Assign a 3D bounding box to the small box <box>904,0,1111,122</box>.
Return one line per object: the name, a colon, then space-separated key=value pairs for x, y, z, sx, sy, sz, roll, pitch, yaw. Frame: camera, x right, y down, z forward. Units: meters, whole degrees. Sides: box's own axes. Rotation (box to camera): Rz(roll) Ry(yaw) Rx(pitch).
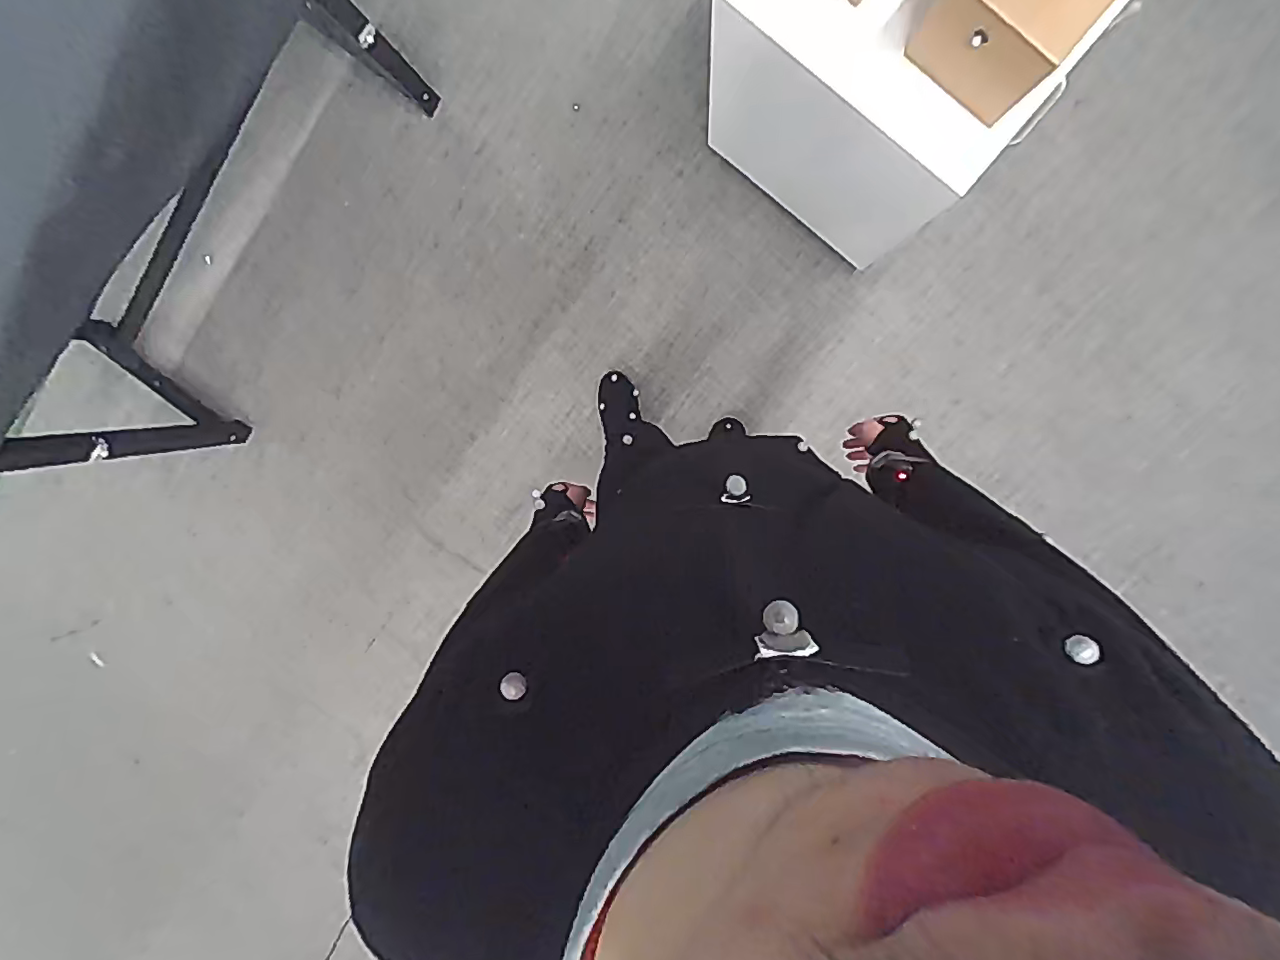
small box: x=0.500 y=-0.636 z=0.730 sx=0.179 sy=0.176 sz=0.168 roll=38 pitch=100 yaw=-3
